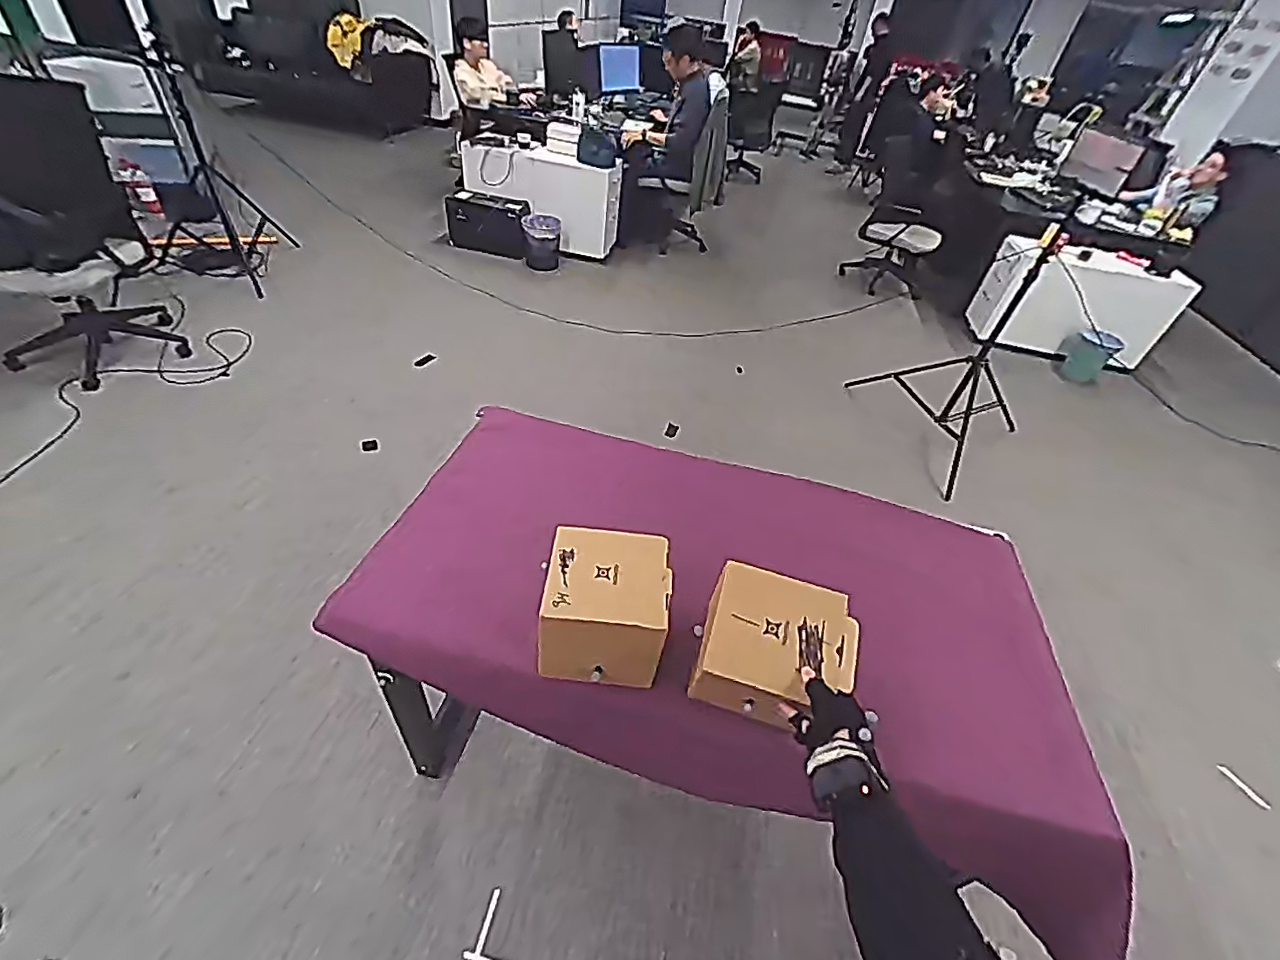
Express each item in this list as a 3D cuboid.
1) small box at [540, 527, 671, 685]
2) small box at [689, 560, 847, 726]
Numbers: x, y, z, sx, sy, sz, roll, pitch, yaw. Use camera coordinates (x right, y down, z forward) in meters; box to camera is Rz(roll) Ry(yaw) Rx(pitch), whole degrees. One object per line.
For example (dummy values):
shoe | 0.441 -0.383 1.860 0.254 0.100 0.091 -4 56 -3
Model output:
small box | -0.054 0.198 0.836 0.179 0.176 0.168 8 41 -4
small box | 0.183 0.247 0.797 0.179 0.176 0.168 16 56 8
